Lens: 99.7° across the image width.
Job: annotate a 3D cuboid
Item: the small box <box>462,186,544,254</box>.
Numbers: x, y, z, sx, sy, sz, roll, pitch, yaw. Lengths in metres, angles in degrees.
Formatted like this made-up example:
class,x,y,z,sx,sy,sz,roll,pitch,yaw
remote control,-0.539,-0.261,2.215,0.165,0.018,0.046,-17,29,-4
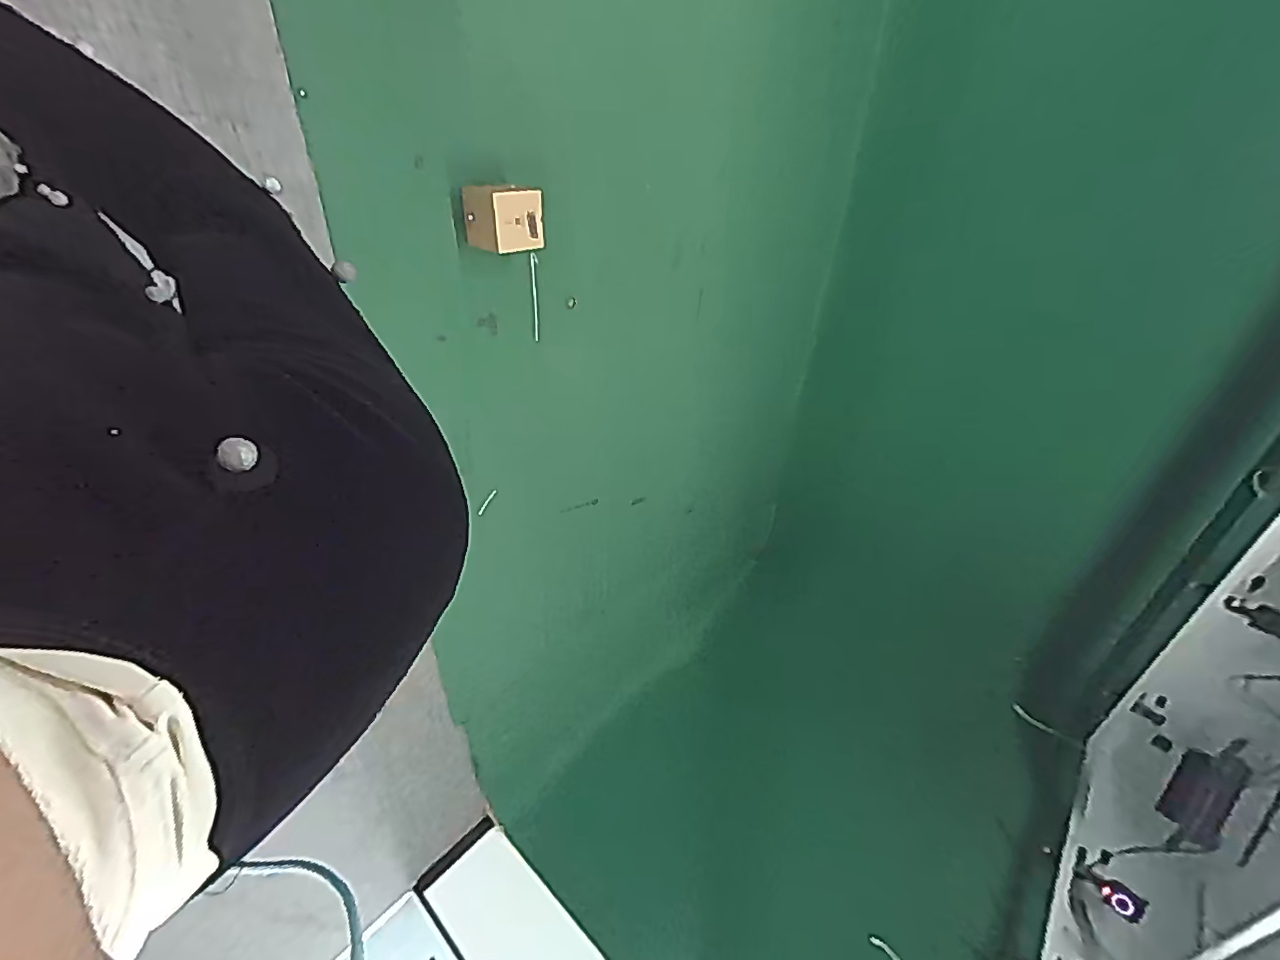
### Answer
class,x,y,z,sx,sy,sz,roll,pitch,yaw
small box,-0.420,-0.810,1.672,0.179,0.176,0.168,-29,134,-38
